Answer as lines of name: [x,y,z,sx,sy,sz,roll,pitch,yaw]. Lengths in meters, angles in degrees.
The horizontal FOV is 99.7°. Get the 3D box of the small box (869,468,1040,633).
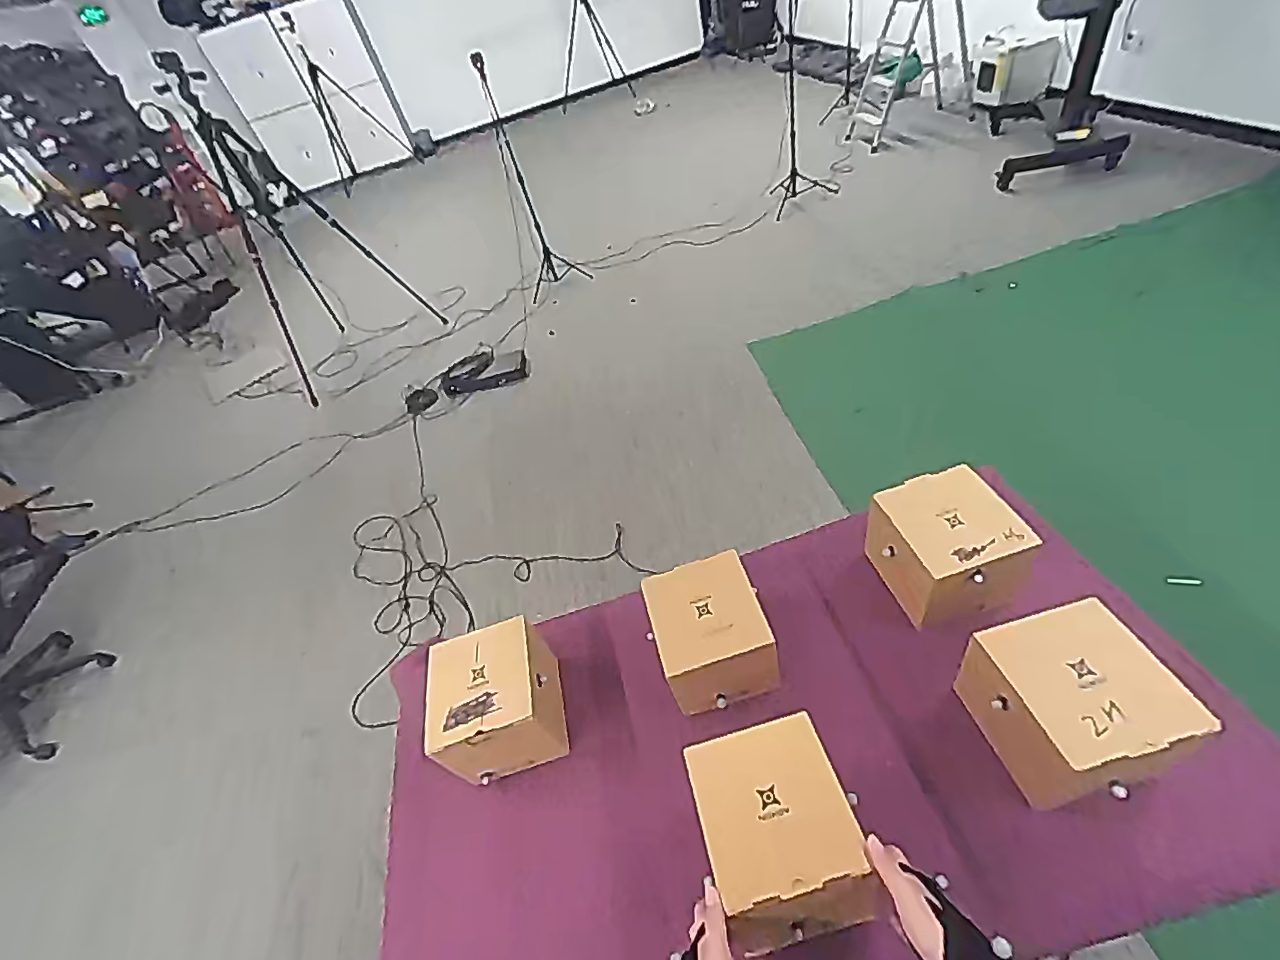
small box: [0.492,0.116,0.881,0.168,0.176,0.179,-19,45,1]

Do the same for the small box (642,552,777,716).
small box: [0.113,0.251,0.878,0.168,0.176,0.179,-18,45,2]

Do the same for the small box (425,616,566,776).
small box: [-0.229,0.359,0.882,0.168,0.176,0.179,-18,44,0]

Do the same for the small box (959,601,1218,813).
small box: [0.542,0.290,0.692,0.168,0.176,0.179,-18,43,3]
